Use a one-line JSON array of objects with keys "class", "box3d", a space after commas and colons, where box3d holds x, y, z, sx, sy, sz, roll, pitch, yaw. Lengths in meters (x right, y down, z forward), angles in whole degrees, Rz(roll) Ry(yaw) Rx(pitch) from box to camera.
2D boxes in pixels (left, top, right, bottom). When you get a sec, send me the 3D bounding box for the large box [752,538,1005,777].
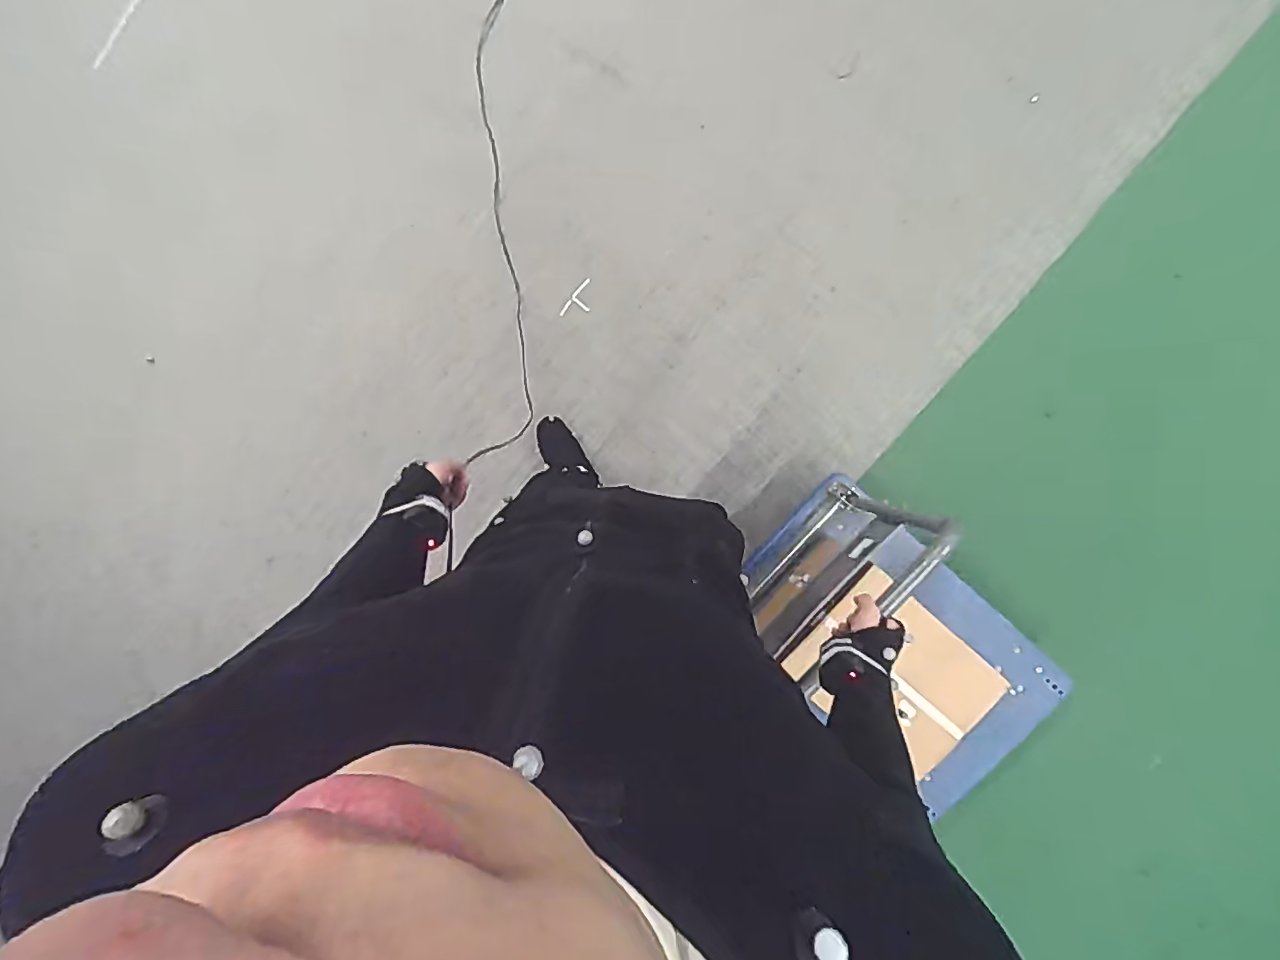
[{"class": "large box", "box3d": [0.543, 0.402, 1.317, 0.408, 0.320, 0.320, 41, 95, -3]}]
